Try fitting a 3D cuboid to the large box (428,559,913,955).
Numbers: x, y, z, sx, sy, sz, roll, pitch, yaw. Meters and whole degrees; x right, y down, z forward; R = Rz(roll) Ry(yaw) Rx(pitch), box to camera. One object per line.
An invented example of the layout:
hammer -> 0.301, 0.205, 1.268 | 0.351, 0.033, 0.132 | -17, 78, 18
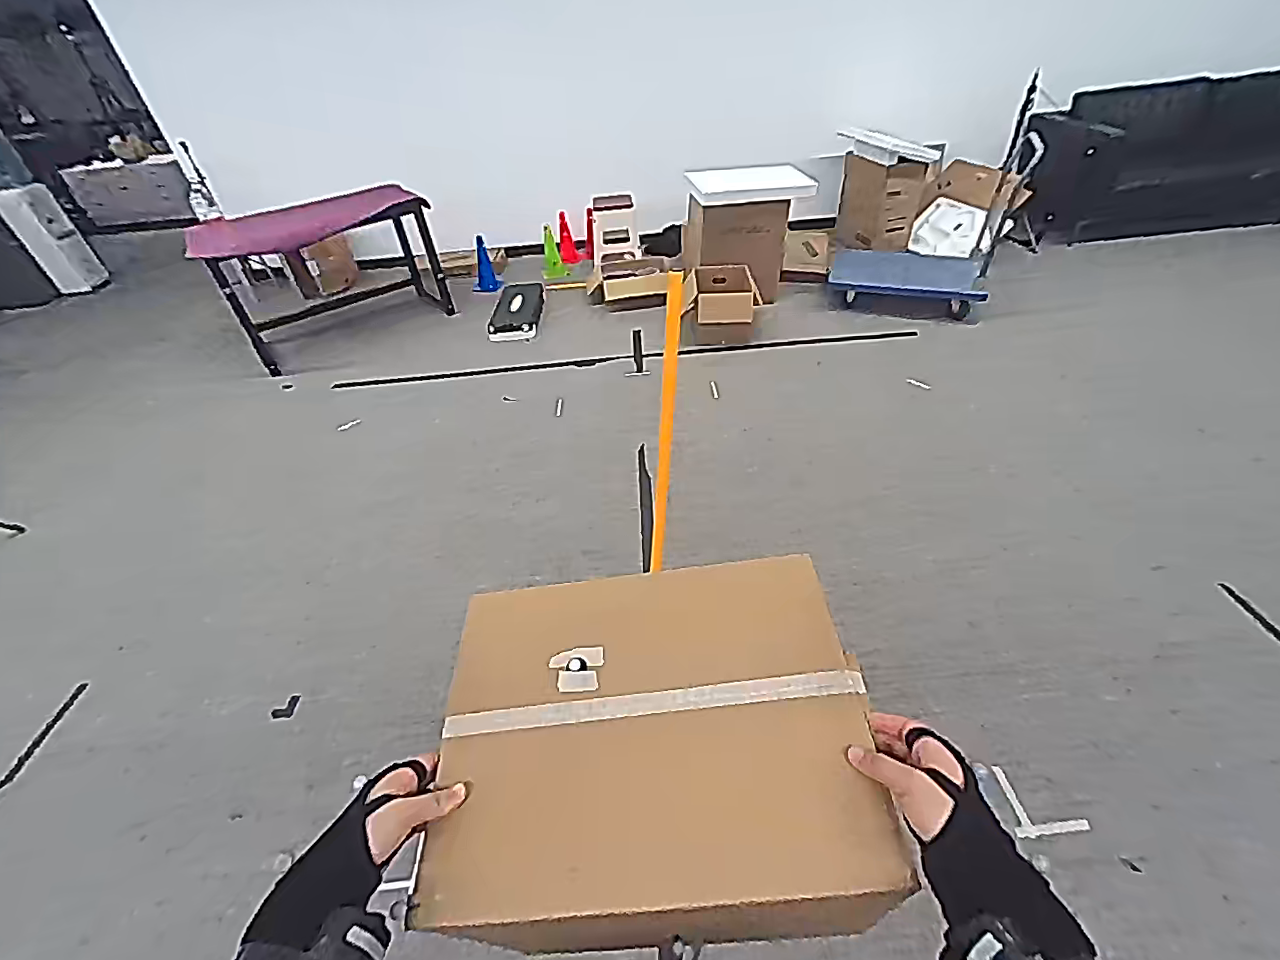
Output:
large box -> 0.036, 0.334, 0.639 | 0.408, 0.320, 0.320 | -9, 43, 5
